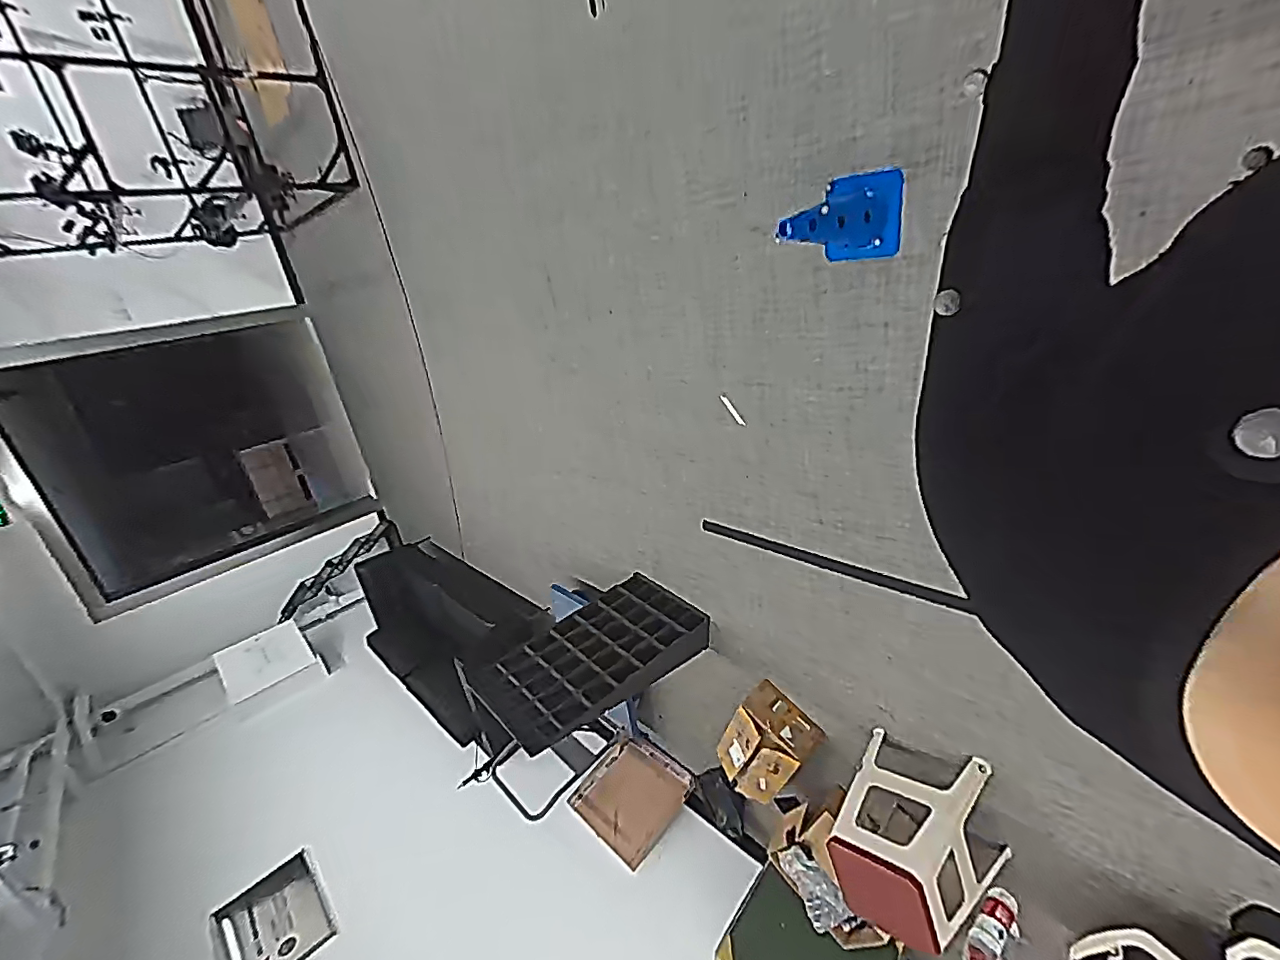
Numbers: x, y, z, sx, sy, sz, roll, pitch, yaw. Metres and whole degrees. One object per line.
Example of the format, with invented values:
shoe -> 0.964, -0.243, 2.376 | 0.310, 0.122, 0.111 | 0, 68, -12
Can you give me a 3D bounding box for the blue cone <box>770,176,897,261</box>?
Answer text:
blue cone -> 0.445, -0.614, 1.298 | 0.192, 0.380, 0.193 | 20, 125, 44
